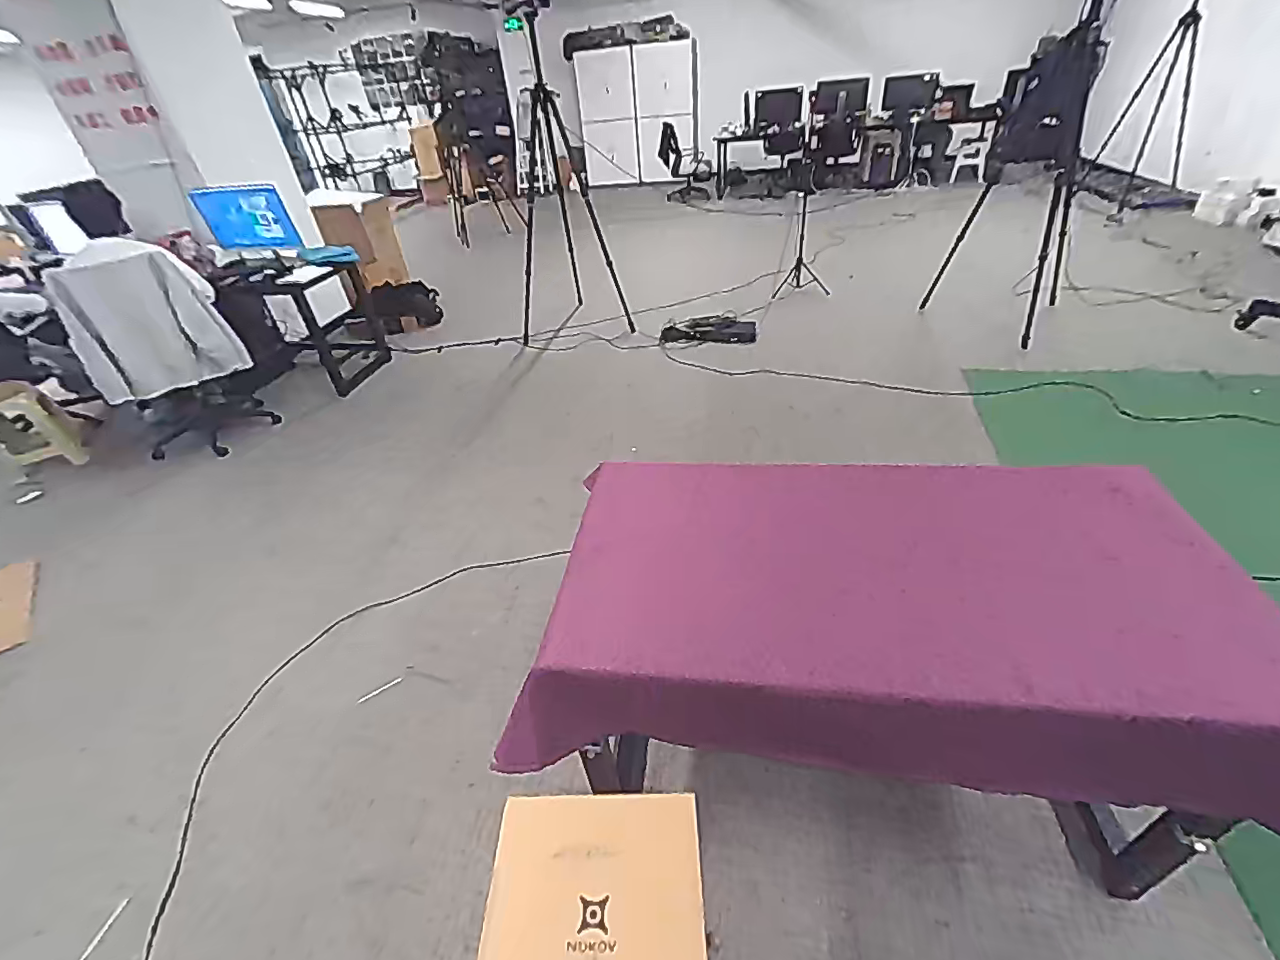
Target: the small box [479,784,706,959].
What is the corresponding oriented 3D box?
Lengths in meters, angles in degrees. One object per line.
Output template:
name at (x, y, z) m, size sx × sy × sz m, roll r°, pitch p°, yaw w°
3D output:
small box at (-0.030, 0.383, 0.458) m, size 0.168 × 0.176 × 0.179 m, roll -1°, pitch 39°, yaw 1°
